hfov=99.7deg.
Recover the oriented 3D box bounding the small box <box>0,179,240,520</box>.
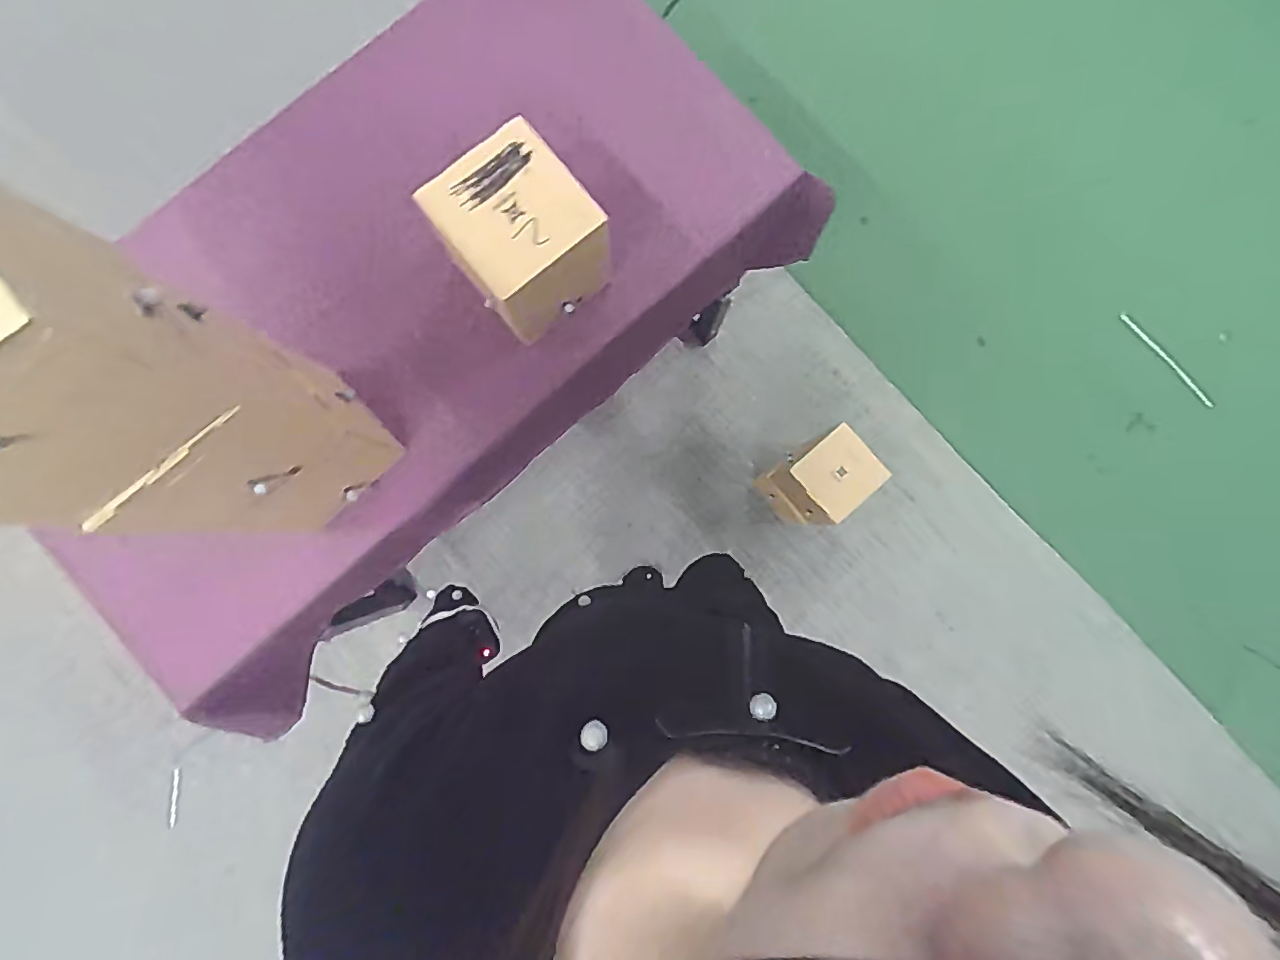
[{"bbox_3d":[-0.446,-0.084,0.378,0.179,0.176,0.168,-40,87,-5],"label":"small box"}]

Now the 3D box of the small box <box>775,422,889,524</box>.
[{"bbox_3d":[0.445,-0.009,1.293,0.179,0.176,0.168,-40,88,-5],"label":"small box"}]

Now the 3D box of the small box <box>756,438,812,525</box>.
[{"bbox_3d":[0.433,0.009,1.454,0.179,0.176,0.168,-38,87,-5],"label":"small box"}]

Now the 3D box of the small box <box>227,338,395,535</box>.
[{"bbox_3d":[-0.452,-0.046,0.706,0.179,0.176,0.168,-43,87,-5],"label":"small box"}]
